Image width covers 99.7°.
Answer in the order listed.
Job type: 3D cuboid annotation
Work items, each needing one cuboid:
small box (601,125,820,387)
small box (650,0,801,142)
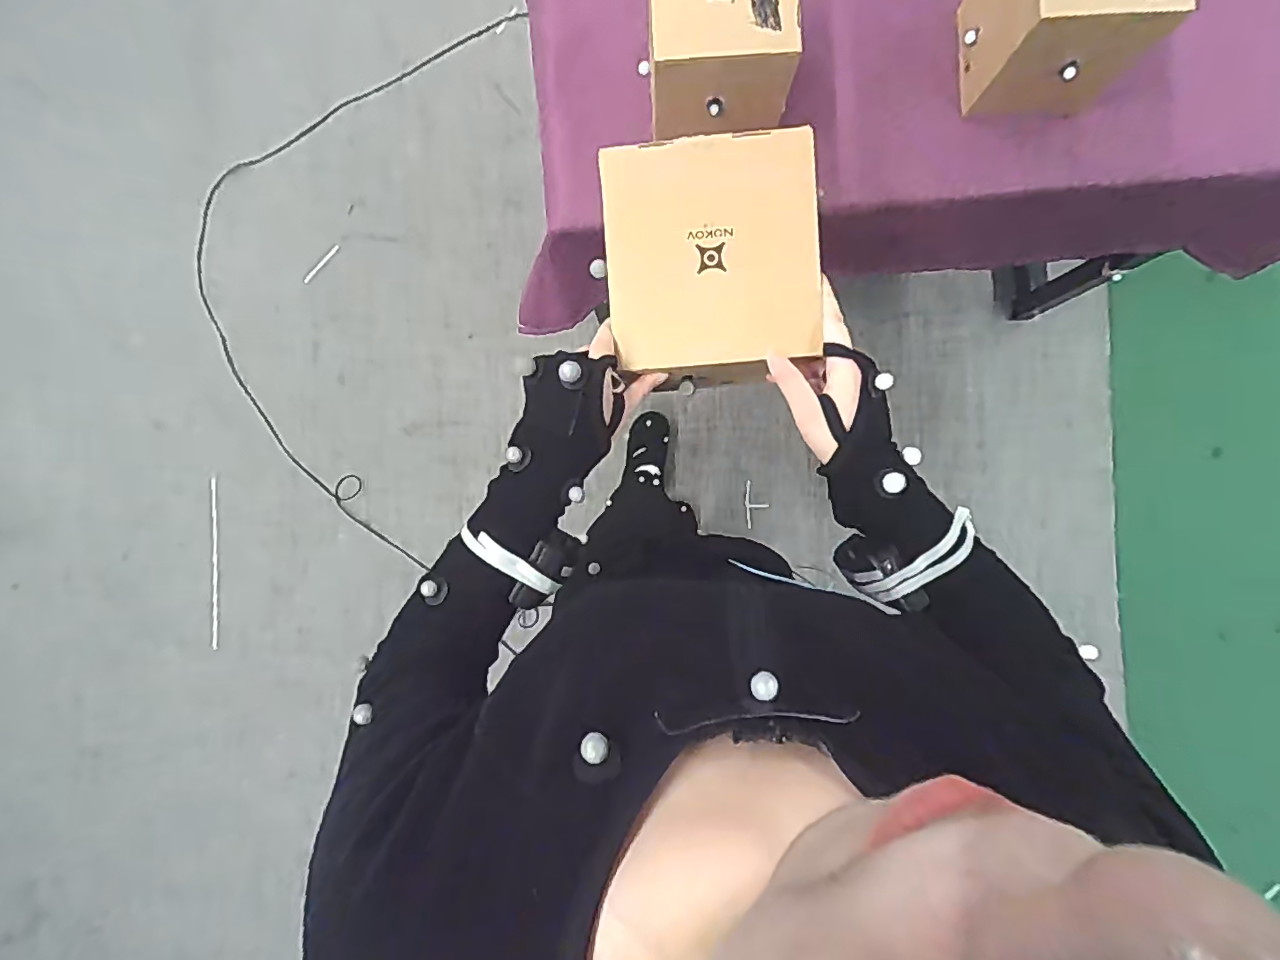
[{"bbox_3d":[0.061,-0.183,0.500,0.168,0.176,0.179,-4,91,4],"label":"small box"},{"bbox_3d":[0.103,-0.569,0.718,0.179,0.176,0.168,-2,88,2],"label":"small box"}]
